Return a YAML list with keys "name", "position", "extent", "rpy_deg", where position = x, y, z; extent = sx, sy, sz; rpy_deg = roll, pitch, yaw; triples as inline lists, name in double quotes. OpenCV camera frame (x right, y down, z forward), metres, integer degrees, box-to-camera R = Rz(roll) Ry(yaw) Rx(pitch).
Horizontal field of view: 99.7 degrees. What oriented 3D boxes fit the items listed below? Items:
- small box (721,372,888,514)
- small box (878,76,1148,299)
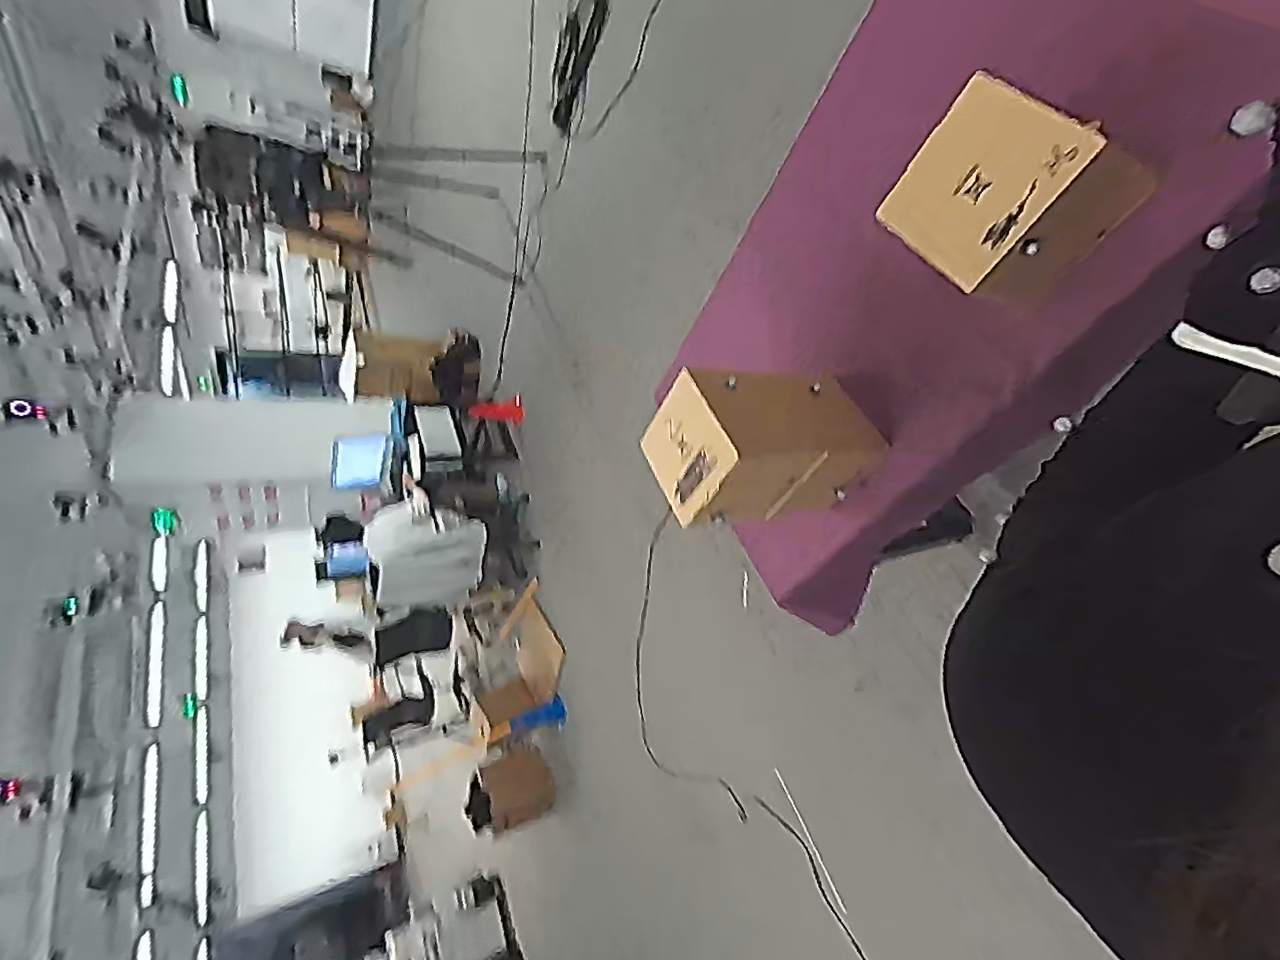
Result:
- name: "small box"
  position: [0.277, -0.063, 0.926]
  extent: [0.179, 0.176, 0.168]
  rpy_deg: [62, 140, 29]
- name: "small box"
  position: [0.439, -0.337, 0.651]
  extent: [0.179, 0.176, 0.168]
  rpy_deg: [63, 141, 31]
